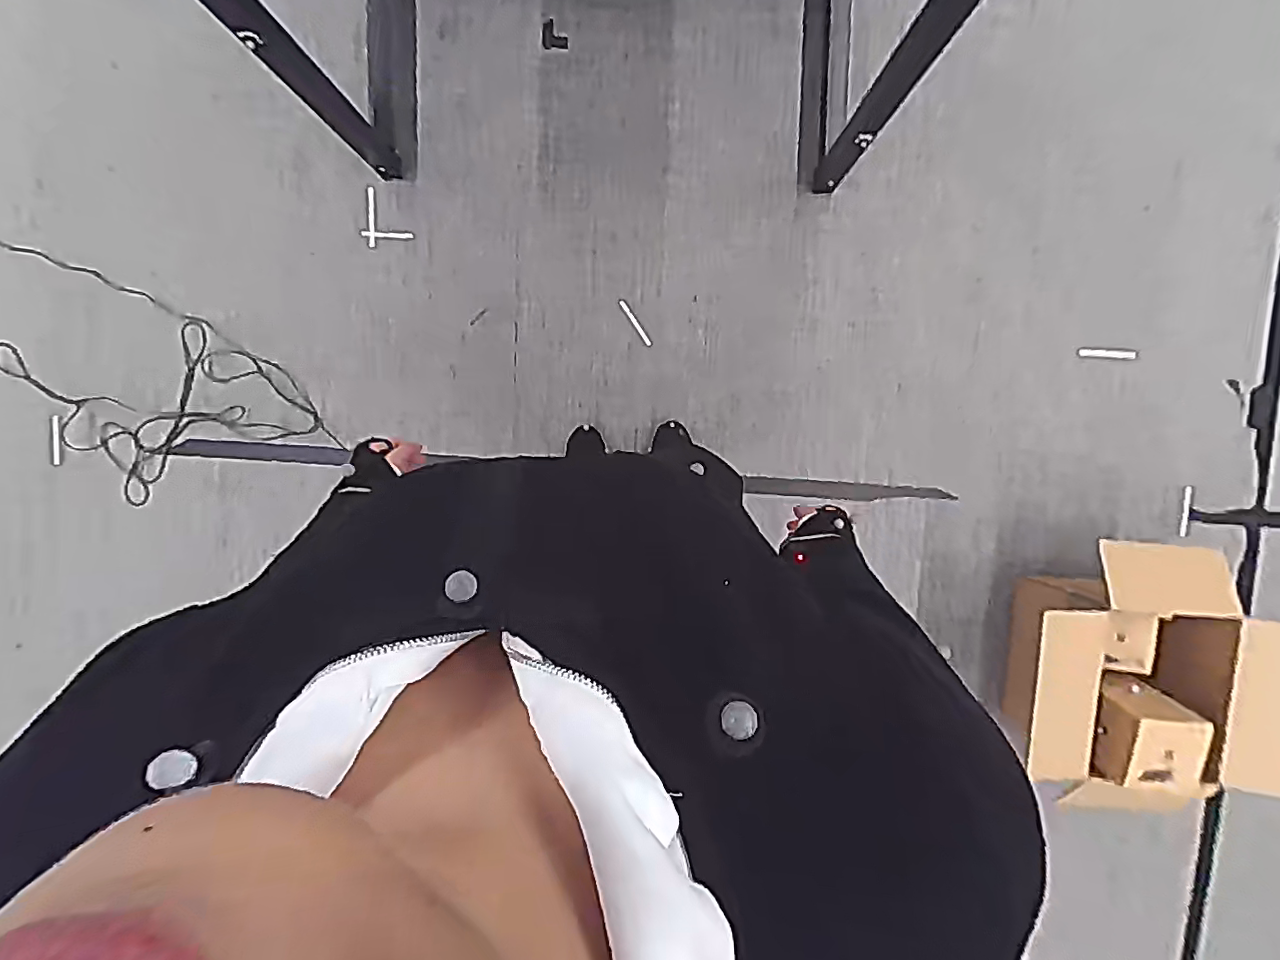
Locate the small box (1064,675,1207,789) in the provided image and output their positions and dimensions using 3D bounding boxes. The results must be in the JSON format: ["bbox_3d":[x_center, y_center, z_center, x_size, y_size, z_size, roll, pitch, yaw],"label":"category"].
[{"bbox_3d":[1.155,0.589,1.277,0.168,0.176,0.179,5,99,-1],"label":"small box"}]
